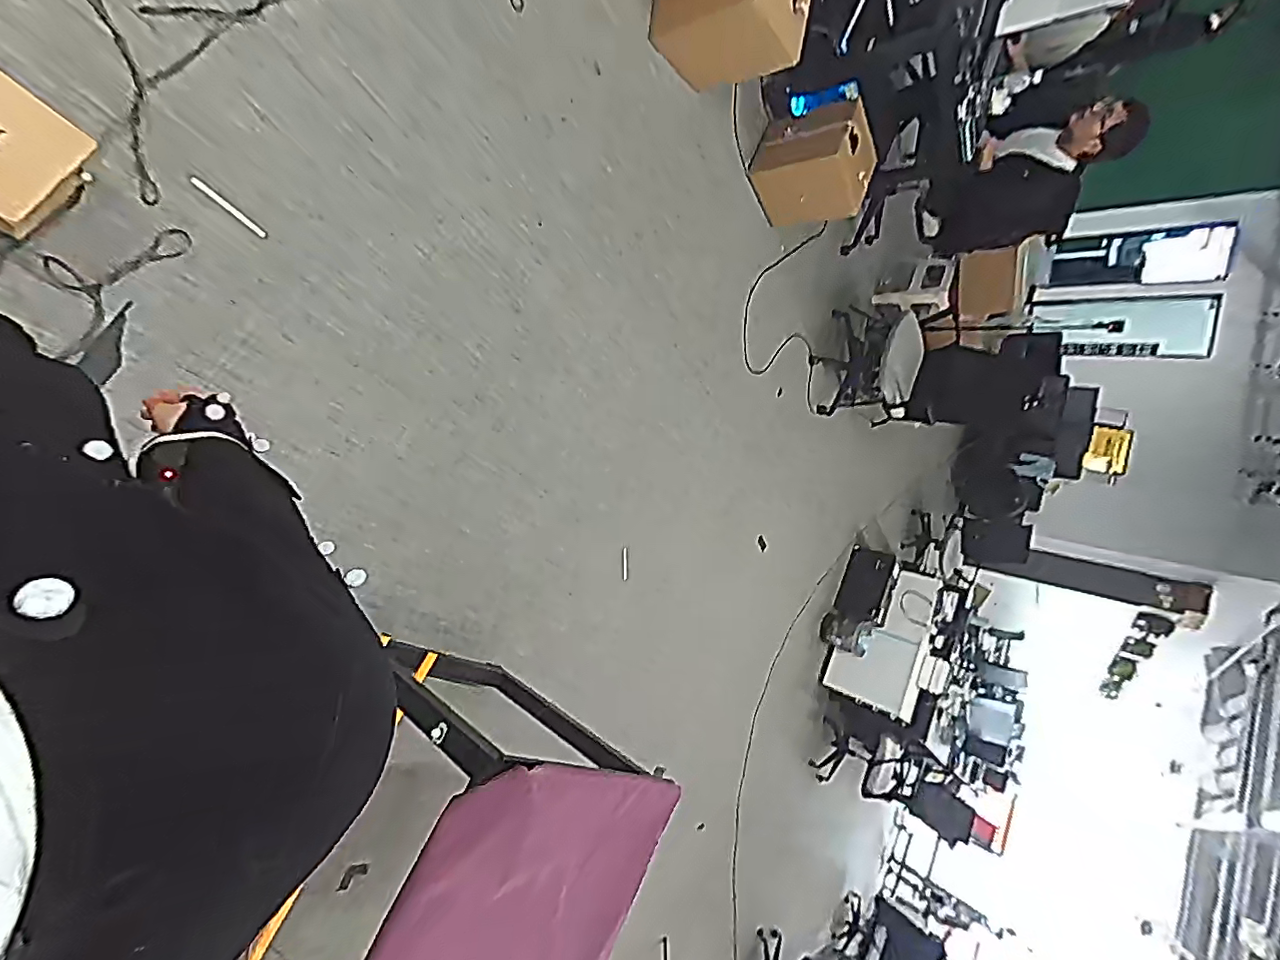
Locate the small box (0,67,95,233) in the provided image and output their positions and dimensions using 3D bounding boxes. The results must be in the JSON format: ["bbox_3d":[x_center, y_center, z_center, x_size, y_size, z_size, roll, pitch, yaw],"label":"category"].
[{"bbox_3d":[-0.964,-0.495,0.792,0.168,0.176,0.179,43,68,-43],"label":"small box"}]
